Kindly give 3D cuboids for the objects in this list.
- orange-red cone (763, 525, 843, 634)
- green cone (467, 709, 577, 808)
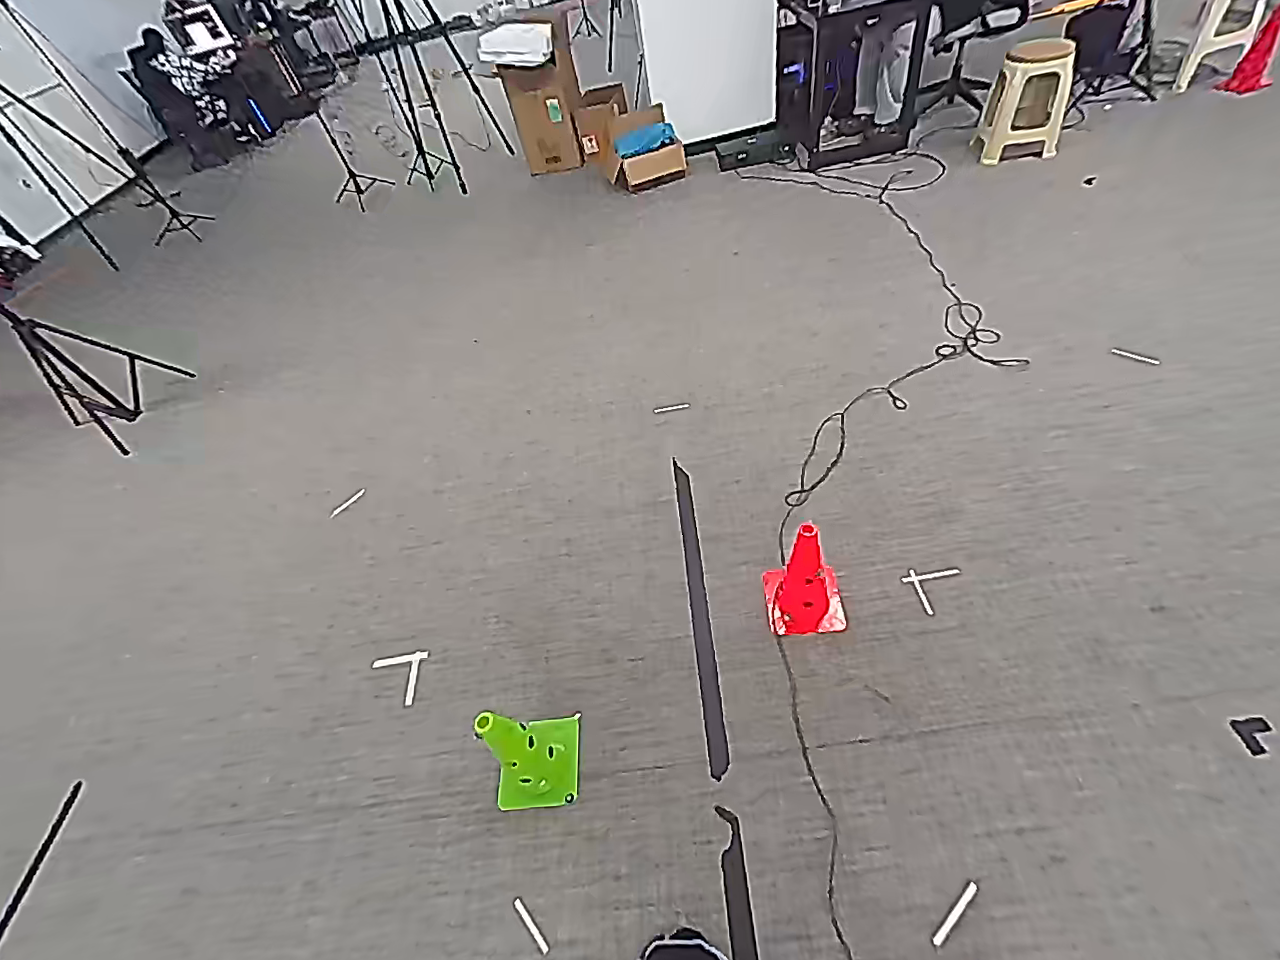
[{"bbox_3d":[0.420,0.226,1.375,0.199,0.360,0.198,-5,50,8],"label":"orange-red cone"},{"bbox_3d":[-0.292,0.594,1.230,0.202,0.368,0.200,-10,48,7],"label":"green cone"}]
